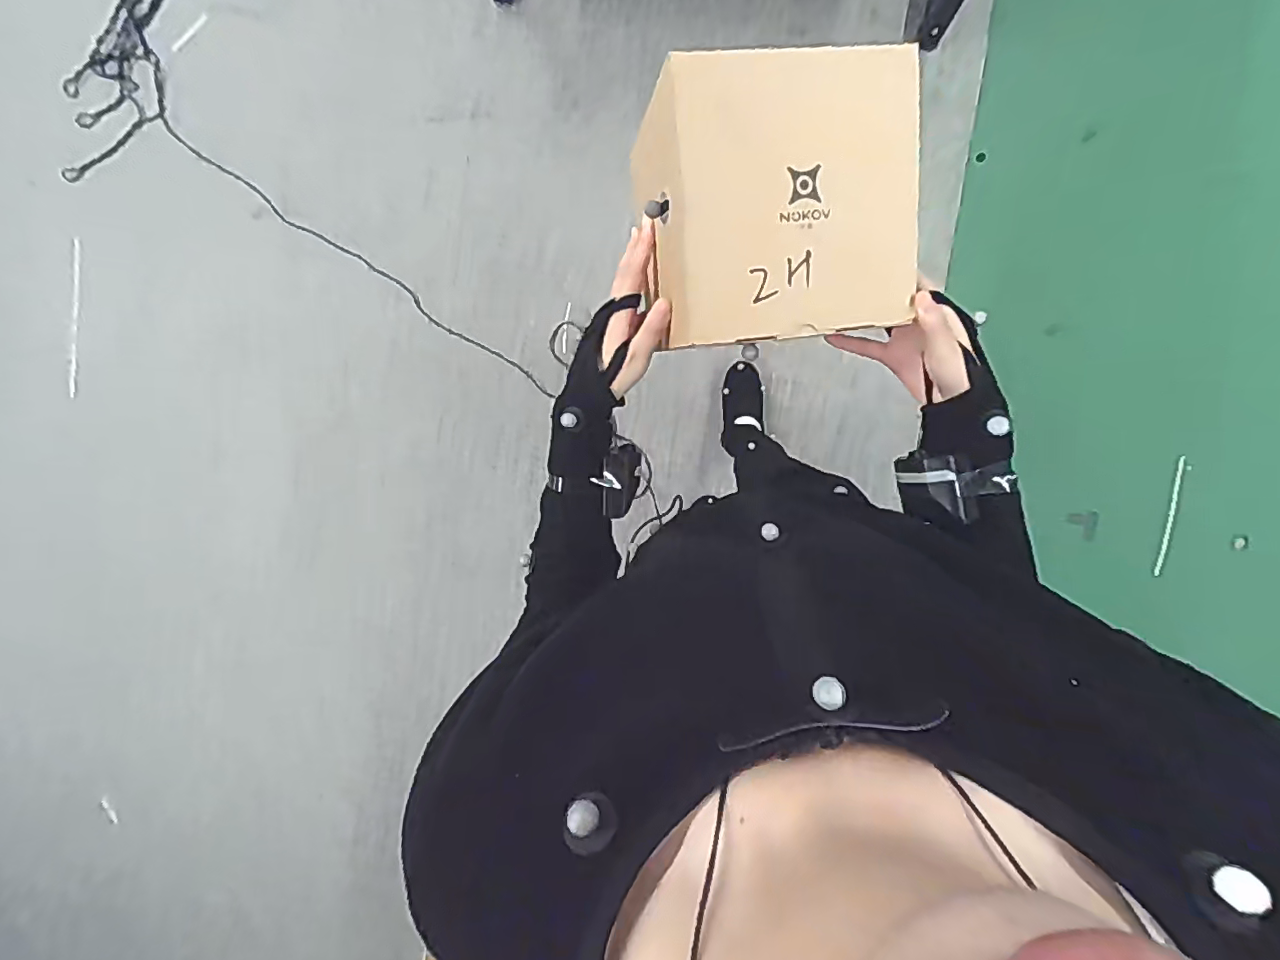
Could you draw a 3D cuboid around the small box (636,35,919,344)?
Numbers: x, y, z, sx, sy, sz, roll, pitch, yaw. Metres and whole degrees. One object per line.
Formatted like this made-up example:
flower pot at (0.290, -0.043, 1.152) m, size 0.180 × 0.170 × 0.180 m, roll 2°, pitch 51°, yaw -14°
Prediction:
small box at (0.094, -0.208, 0.433) m, size 0.168 × 0.176 × 0.179 m, roll -7°, pitch 103°, yaw -7°
